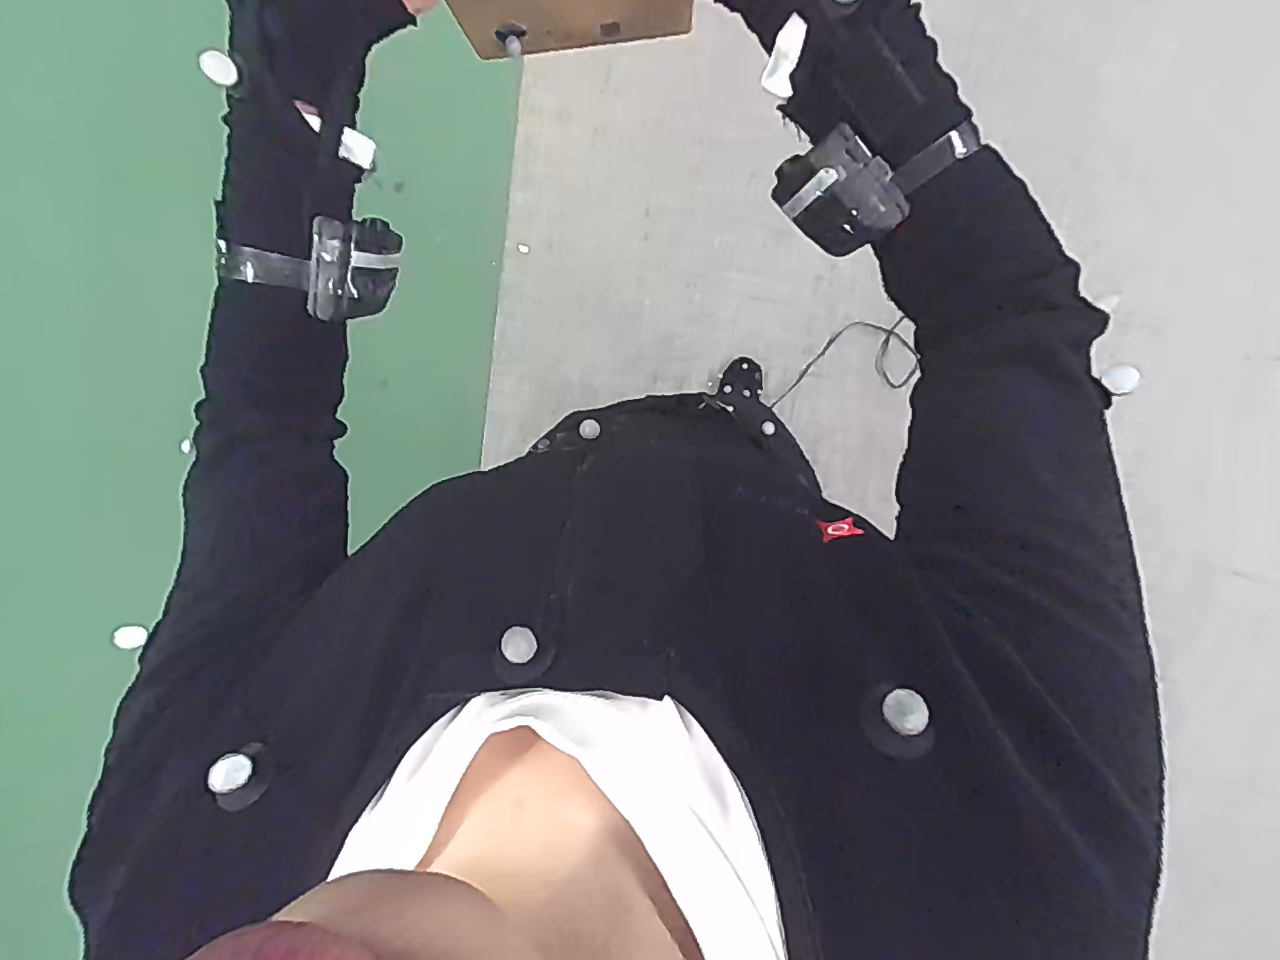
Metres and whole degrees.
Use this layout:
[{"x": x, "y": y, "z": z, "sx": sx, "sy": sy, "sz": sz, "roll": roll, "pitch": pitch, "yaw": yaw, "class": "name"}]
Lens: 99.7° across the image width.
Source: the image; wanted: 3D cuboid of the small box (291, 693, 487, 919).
[{"x": -0.326, "y": 0.429, "z": 0.738, "sx": 0.168, "sy": 0.176, "sz": 0.179, "roll": 21, "pitch": 102, "yaw": -1, "class": "small box"}]

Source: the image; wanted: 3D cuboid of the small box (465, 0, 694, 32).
[{"x": -0.049, "y": -0.401, "z": 0.311, "sx": 0.168, "sy": 0.176, "sz": 0.179, "roll": -4, "pitch": 101, "yaw": 4, "class": "small box"}]
